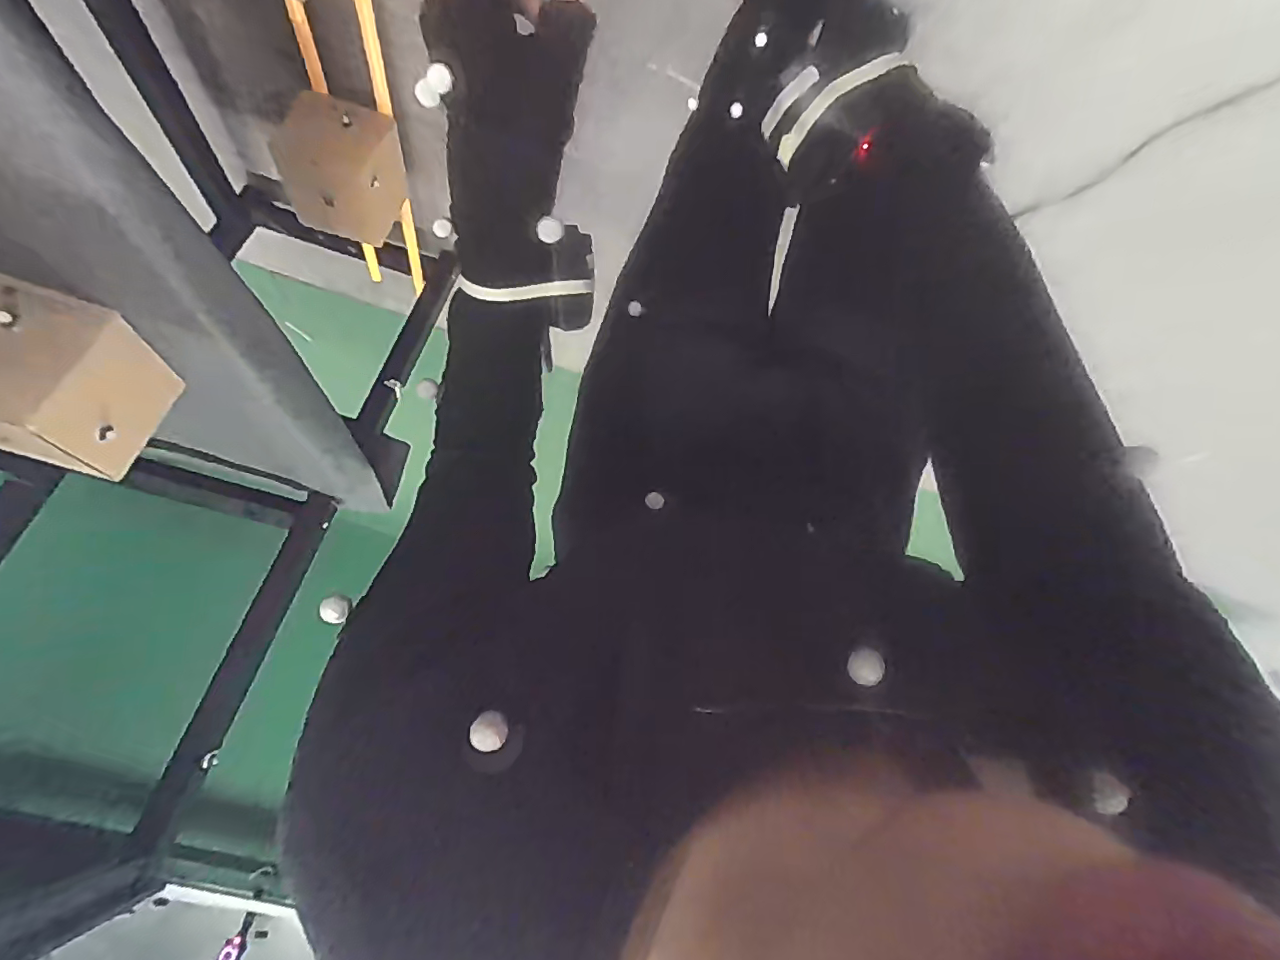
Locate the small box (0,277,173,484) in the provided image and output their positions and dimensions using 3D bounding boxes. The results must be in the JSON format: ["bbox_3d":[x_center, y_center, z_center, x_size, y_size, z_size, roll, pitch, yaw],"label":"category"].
[{"bbox_3d":[-0.739,-0.121,0.665,0.168,0.176,0.179,18,156,-9],"label":"small box"}]
